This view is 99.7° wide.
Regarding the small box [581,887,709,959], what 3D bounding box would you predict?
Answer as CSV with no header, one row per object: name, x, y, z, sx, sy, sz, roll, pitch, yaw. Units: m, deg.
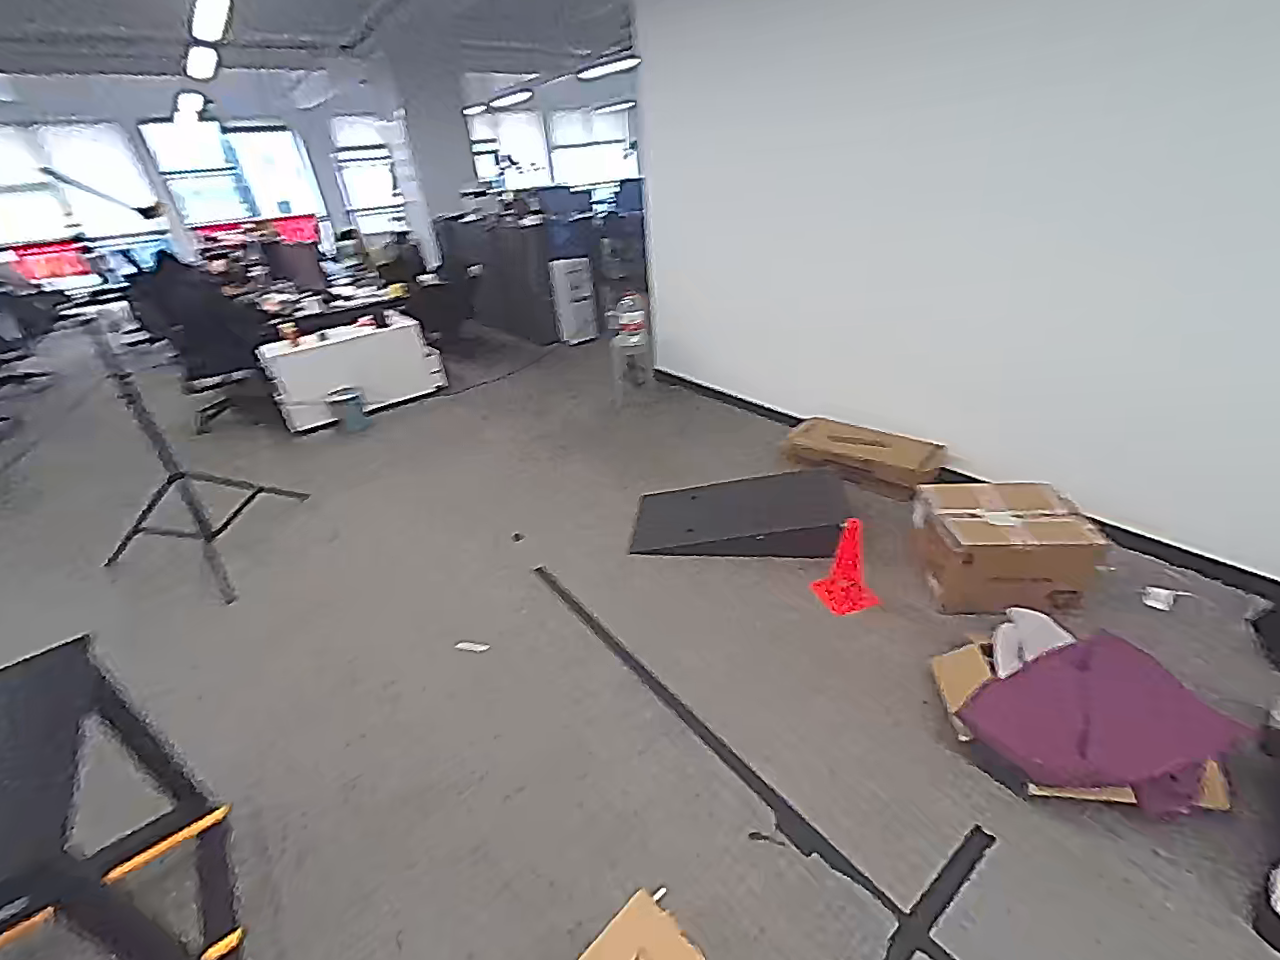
small box,0.013,0.929,1.006,0.179,0.176,0.168,-31,38,-34
